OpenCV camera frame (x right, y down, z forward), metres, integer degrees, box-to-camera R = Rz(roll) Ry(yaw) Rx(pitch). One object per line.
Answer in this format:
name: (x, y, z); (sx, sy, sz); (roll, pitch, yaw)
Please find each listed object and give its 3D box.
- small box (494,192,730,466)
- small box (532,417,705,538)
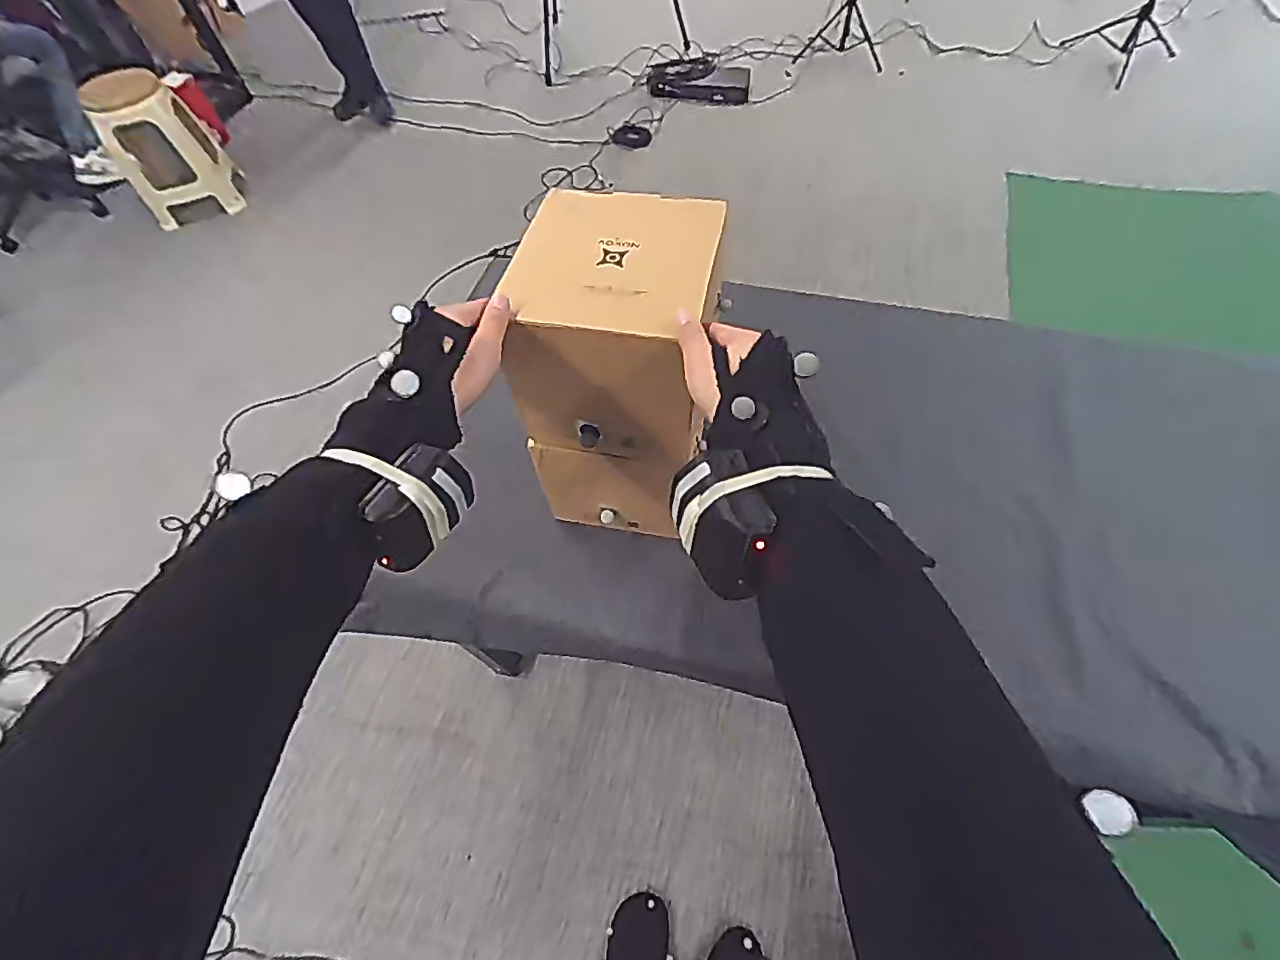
small box: (-0.013, -0.138, 0.510); (0.168, 0.176, 0.179); (8, 59, 9)
small box: (-0.012, -0.053, 0.650); (0.168, 0.176, 0.179); (8, 60, 9)
